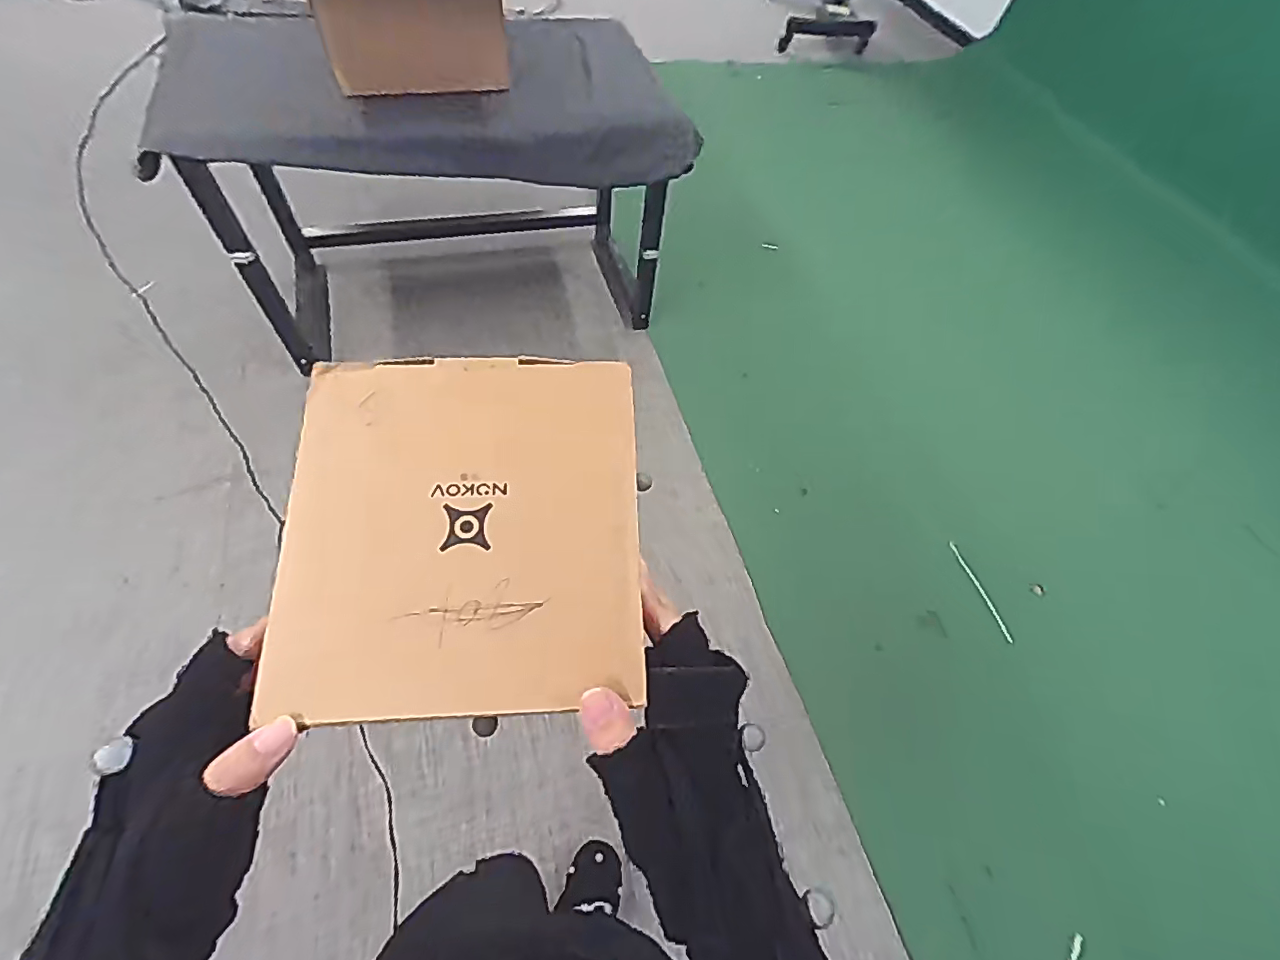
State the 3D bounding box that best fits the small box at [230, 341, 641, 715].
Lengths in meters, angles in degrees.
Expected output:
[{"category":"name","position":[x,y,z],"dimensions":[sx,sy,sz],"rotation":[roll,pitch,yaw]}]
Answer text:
[{"category":"small box","position":[-0.091,0.038,0.322],"dimensions":[0.168,0.176,0.179],"rotation":[-2,70,-5]}]
